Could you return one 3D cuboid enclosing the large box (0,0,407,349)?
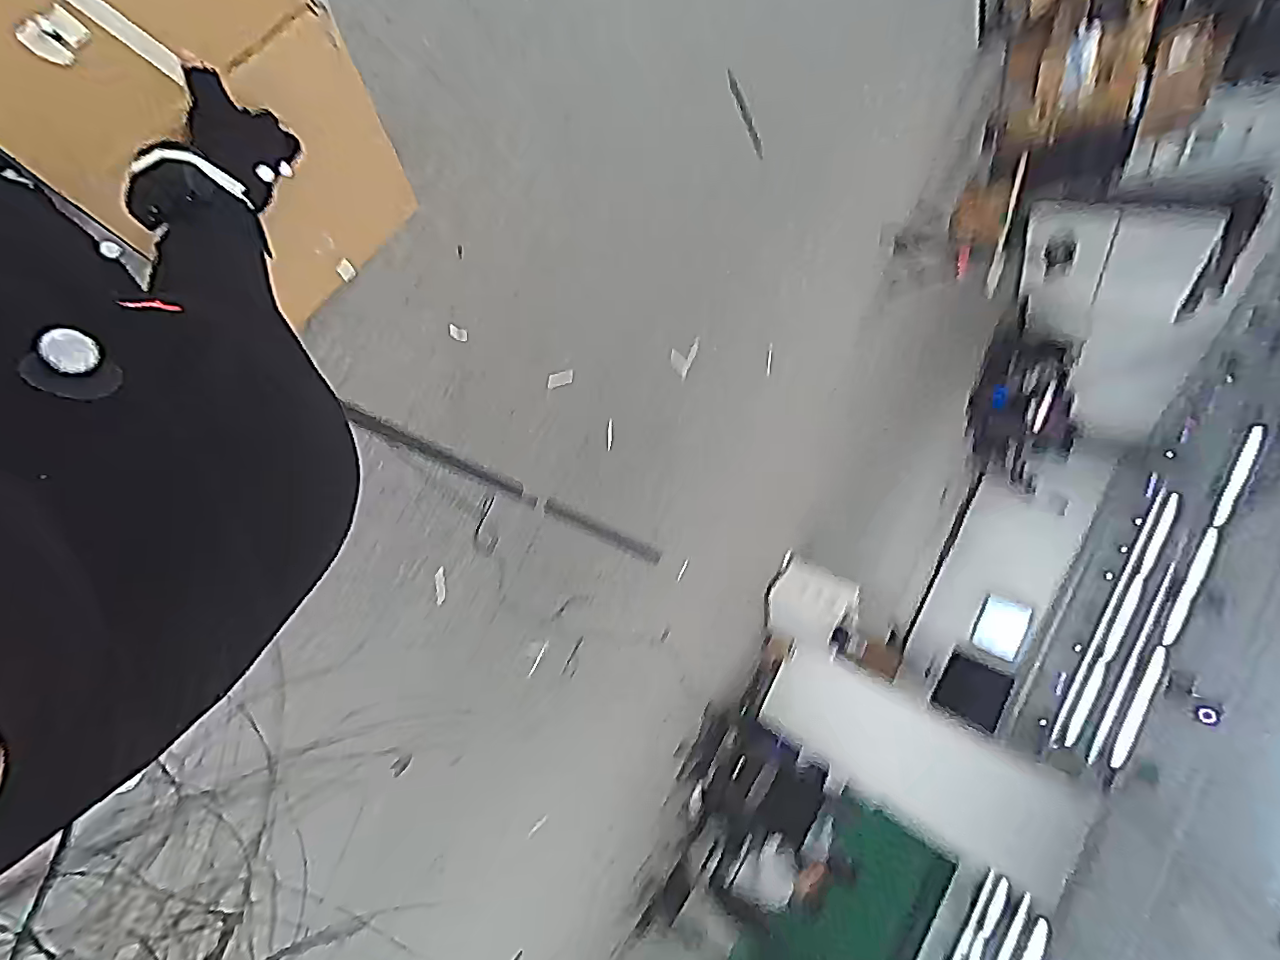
[{"bbox_3d":[-0.587,-0.446,0.672,0.320,0.408,0.320,-52,179,-12],"label":"large box"}]
